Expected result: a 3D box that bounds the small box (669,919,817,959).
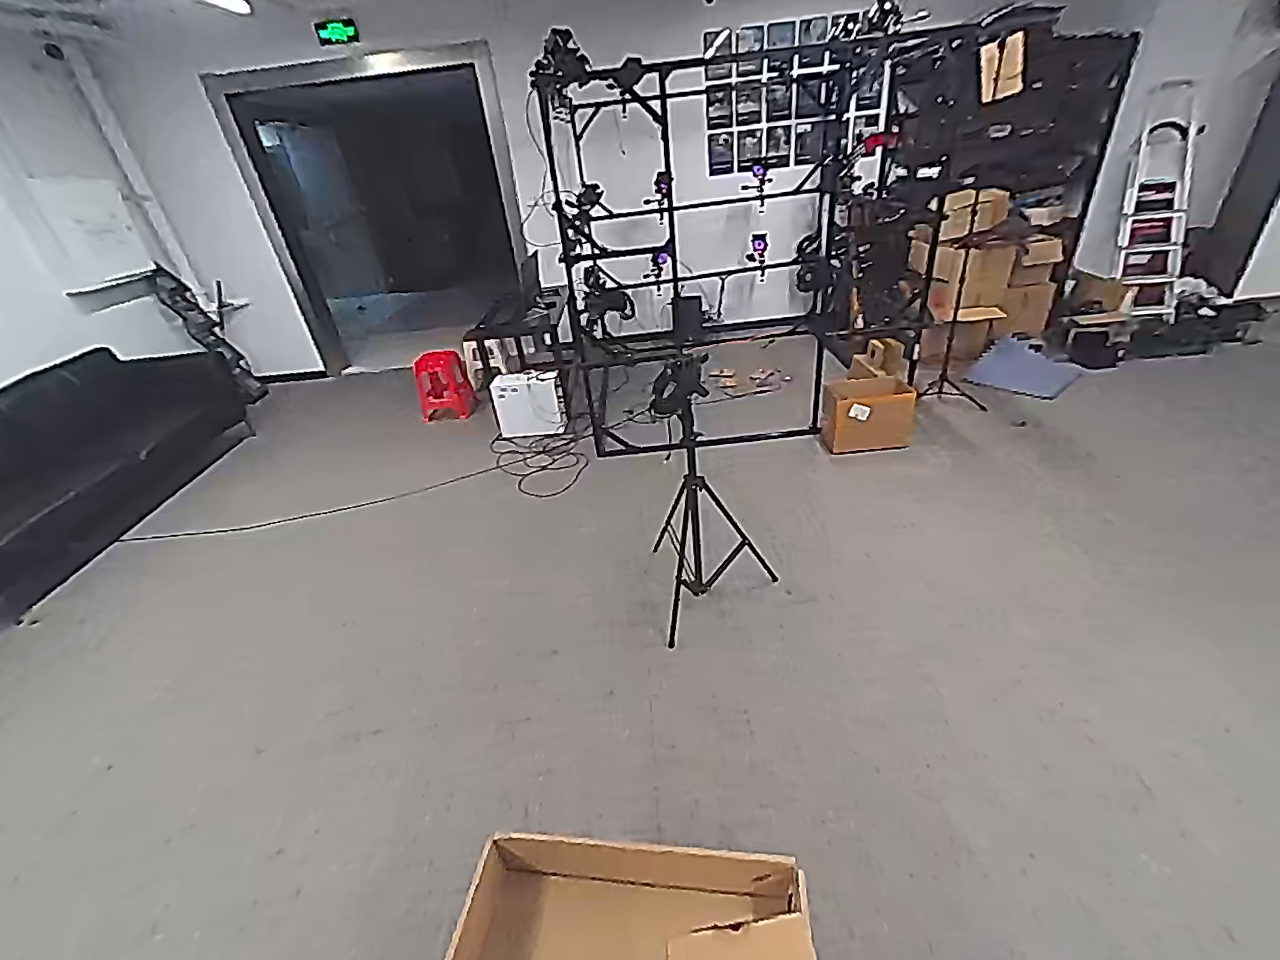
[{"bbox_3d":[0.122,0.628,0.587,0.168,0.176,0.179,-5,30,-5],"label":"small box"}]
